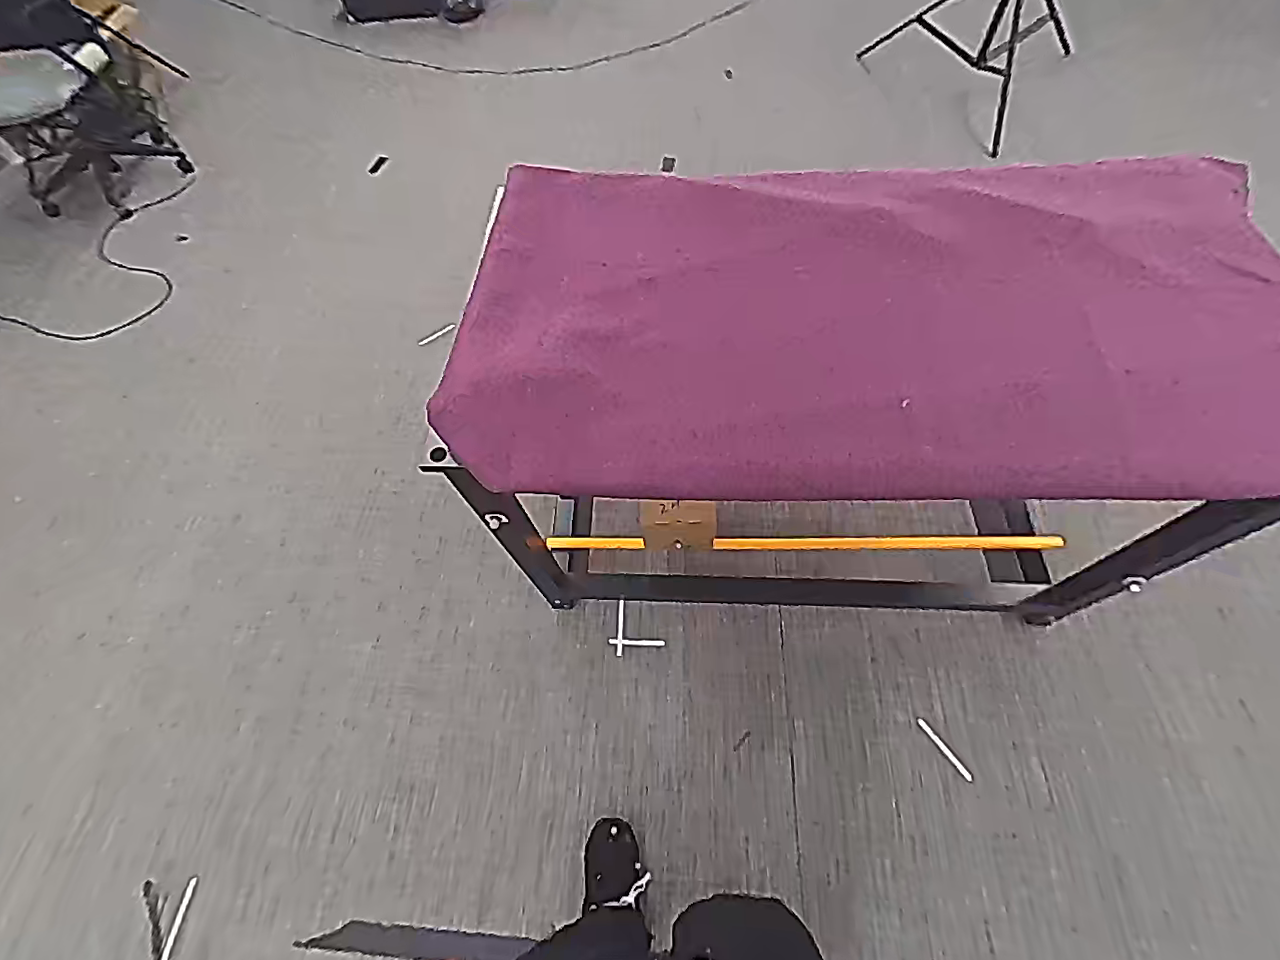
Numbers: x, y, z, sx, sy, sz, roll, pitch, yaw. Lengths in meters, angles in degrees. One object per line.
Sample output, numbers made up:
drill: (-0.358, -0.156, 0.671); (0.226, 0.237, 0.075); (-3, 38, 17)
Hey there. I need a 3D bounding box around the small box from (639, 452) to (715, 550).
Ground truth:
small box: (0.085, 0.052, 1.266); (0.168, 0.176, 0.179); (-3, 63, 4)
